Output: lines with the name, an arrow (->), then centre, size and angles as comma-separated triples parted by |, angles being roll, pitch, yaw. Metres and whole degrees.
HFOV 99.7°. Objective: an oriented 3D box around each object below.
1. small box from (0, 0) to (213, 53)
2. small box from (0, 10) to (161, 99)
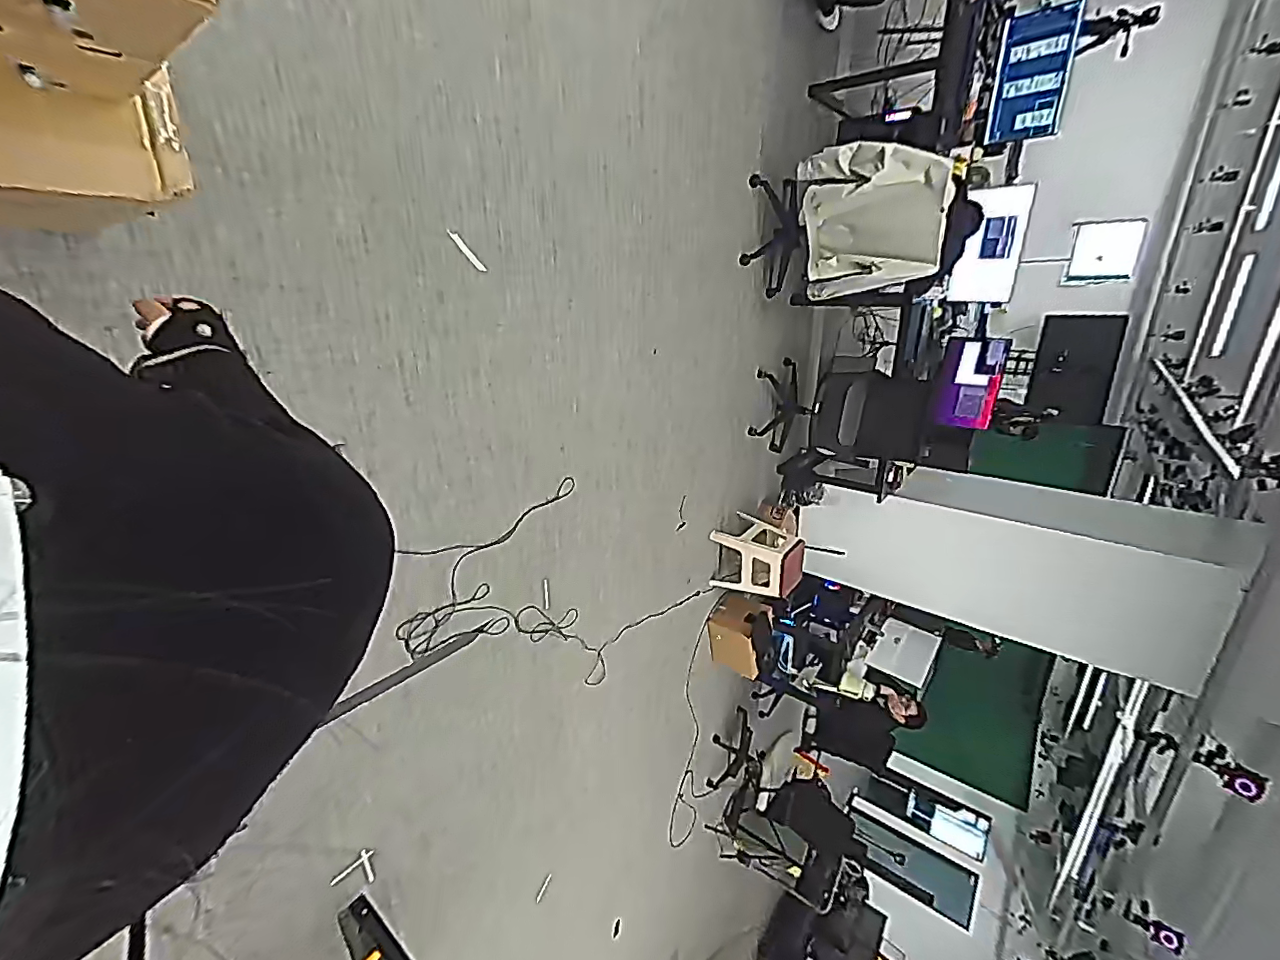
small box -> -0.442, -0.446, 0.384 | 0.168, 0.176, 0.179 | -20, 118, -47
small box -> -0.572, -0.475, 0.480 | 0.168, 0.176, 0.179 | -22, 119, -46
